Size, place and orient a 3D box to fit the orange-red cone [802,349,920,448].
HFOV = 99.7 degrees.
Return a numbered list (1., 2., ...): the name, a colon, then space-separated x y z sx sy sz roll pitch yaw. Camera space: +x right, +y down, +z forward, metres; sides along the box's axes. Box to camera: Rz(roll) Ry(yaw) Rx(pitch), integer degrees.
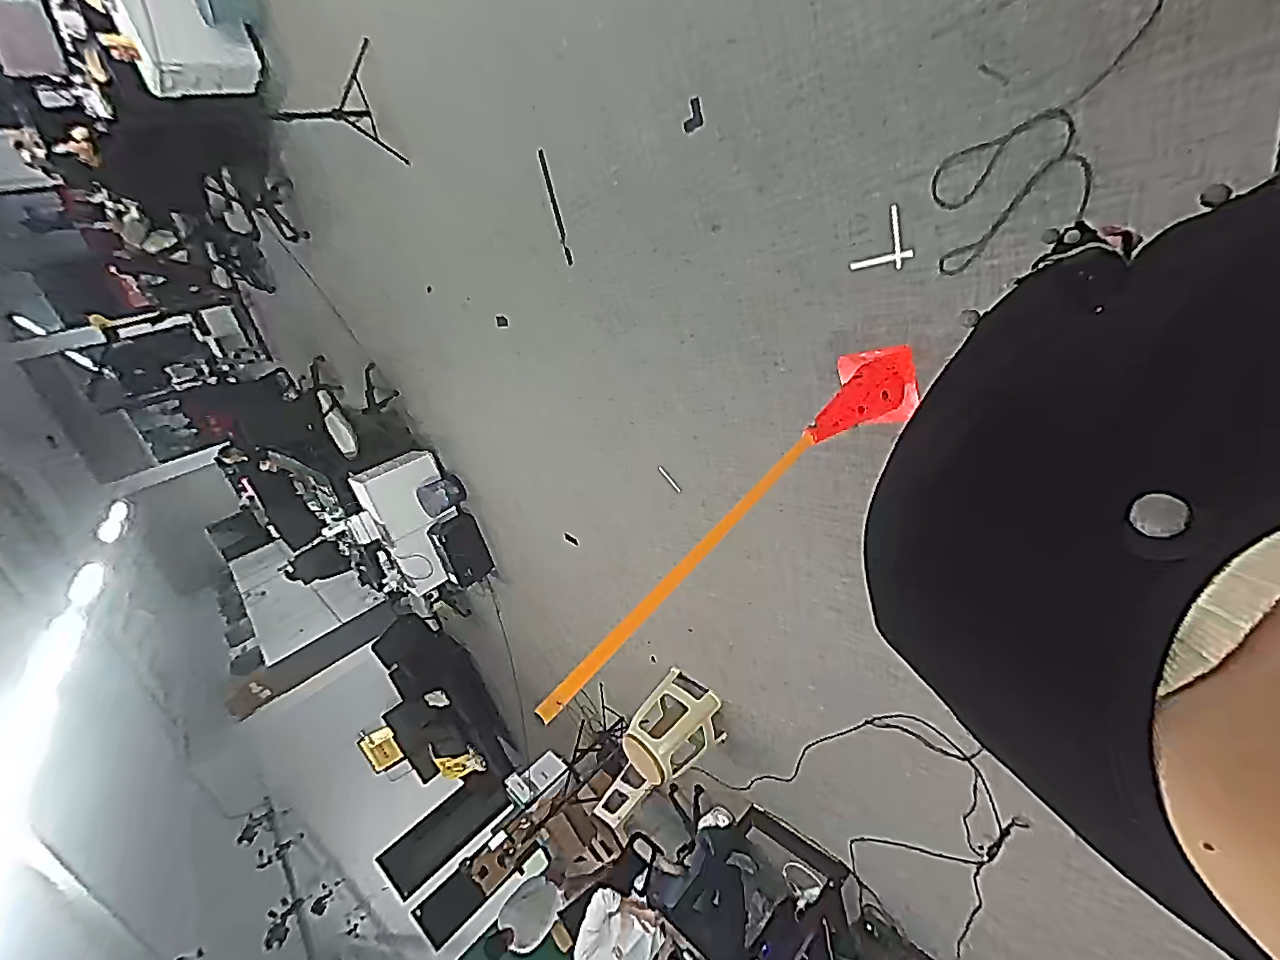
1. orange-red cone: 0.509 -0.167 1.332 0.199 0.360 0.198 2 117 50
